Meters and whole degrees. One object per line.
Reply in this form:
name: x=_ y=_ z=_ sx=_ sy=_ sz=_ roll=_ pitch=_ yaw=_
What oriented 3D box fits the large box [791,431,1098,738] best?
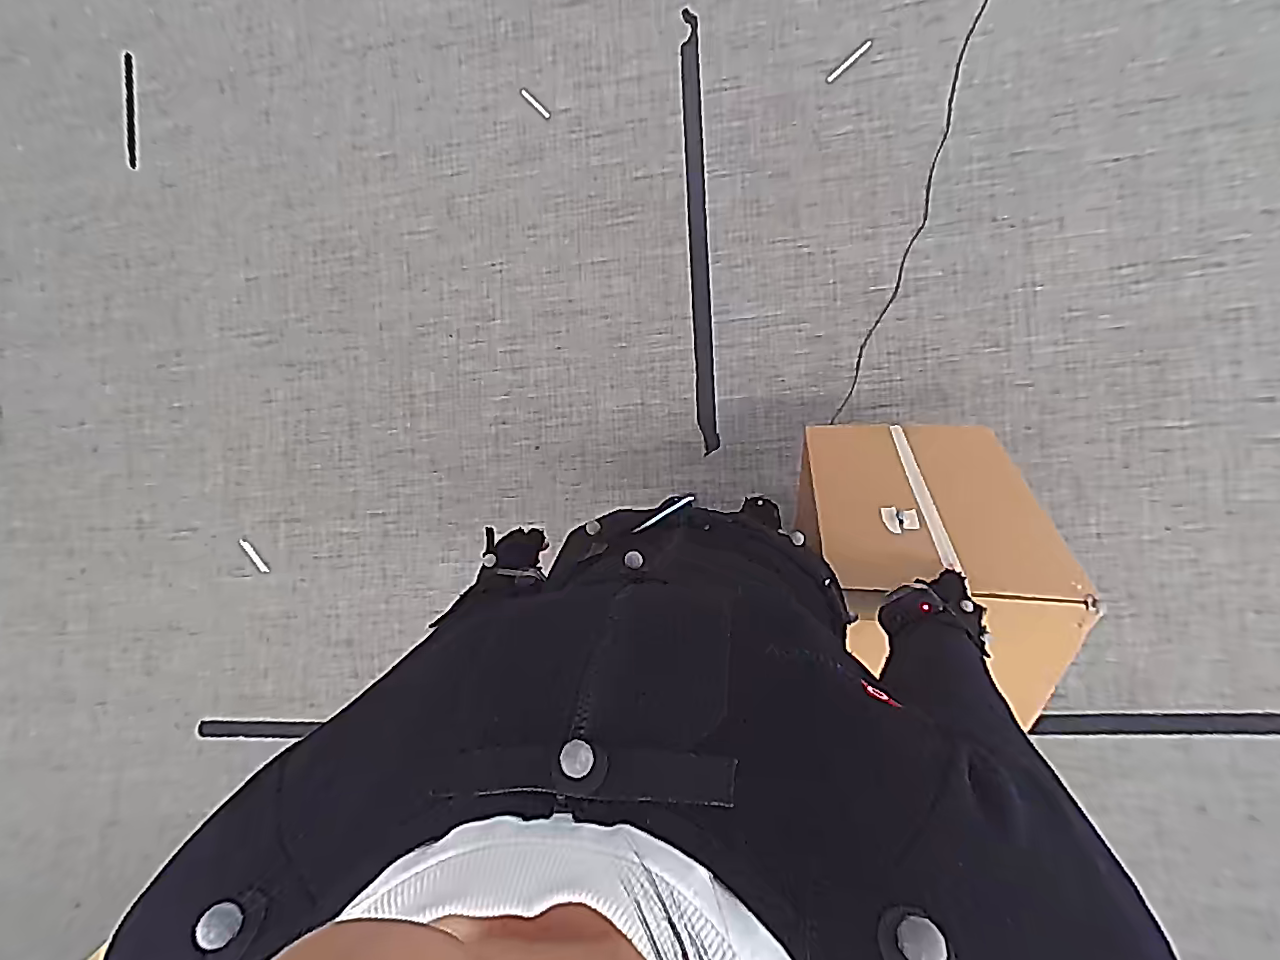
large box: x=0.439 y=0.153 z=0.913 sx=0.320 sy=0.408 sz=0.320 roll=1 pitch=127 yaw=11
